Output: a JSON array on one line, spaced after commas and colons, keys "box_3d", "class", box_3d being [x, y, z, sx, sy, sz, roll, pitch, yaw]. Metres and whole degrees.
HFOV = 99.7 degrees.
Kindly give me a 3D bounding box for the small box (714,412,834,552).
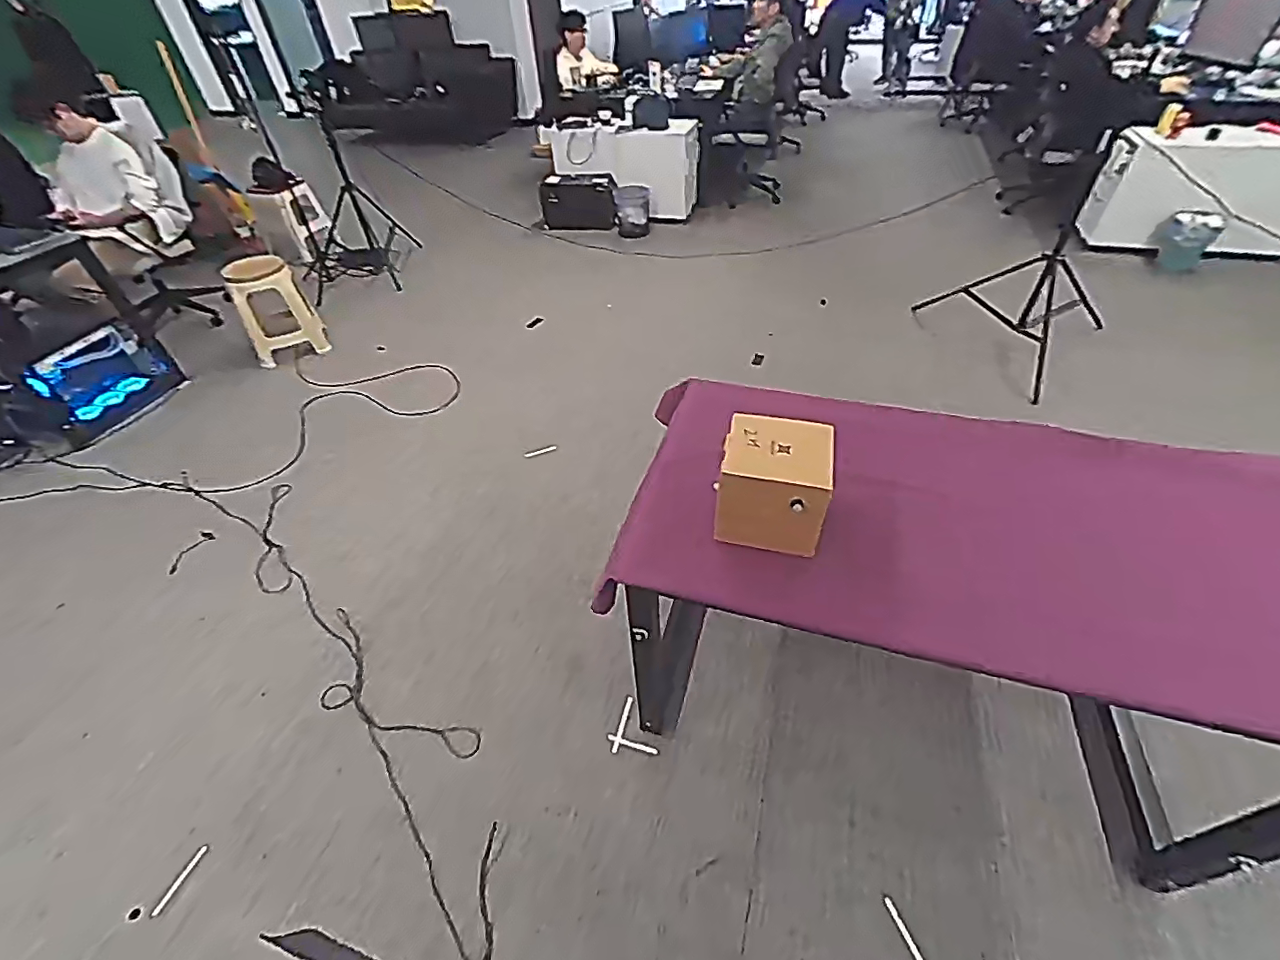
[{"box_3d": [0.232, 0.005, 0.950, 0.179, 0.176, 0.168, 9, 44, 13], "class": "small box"}]
